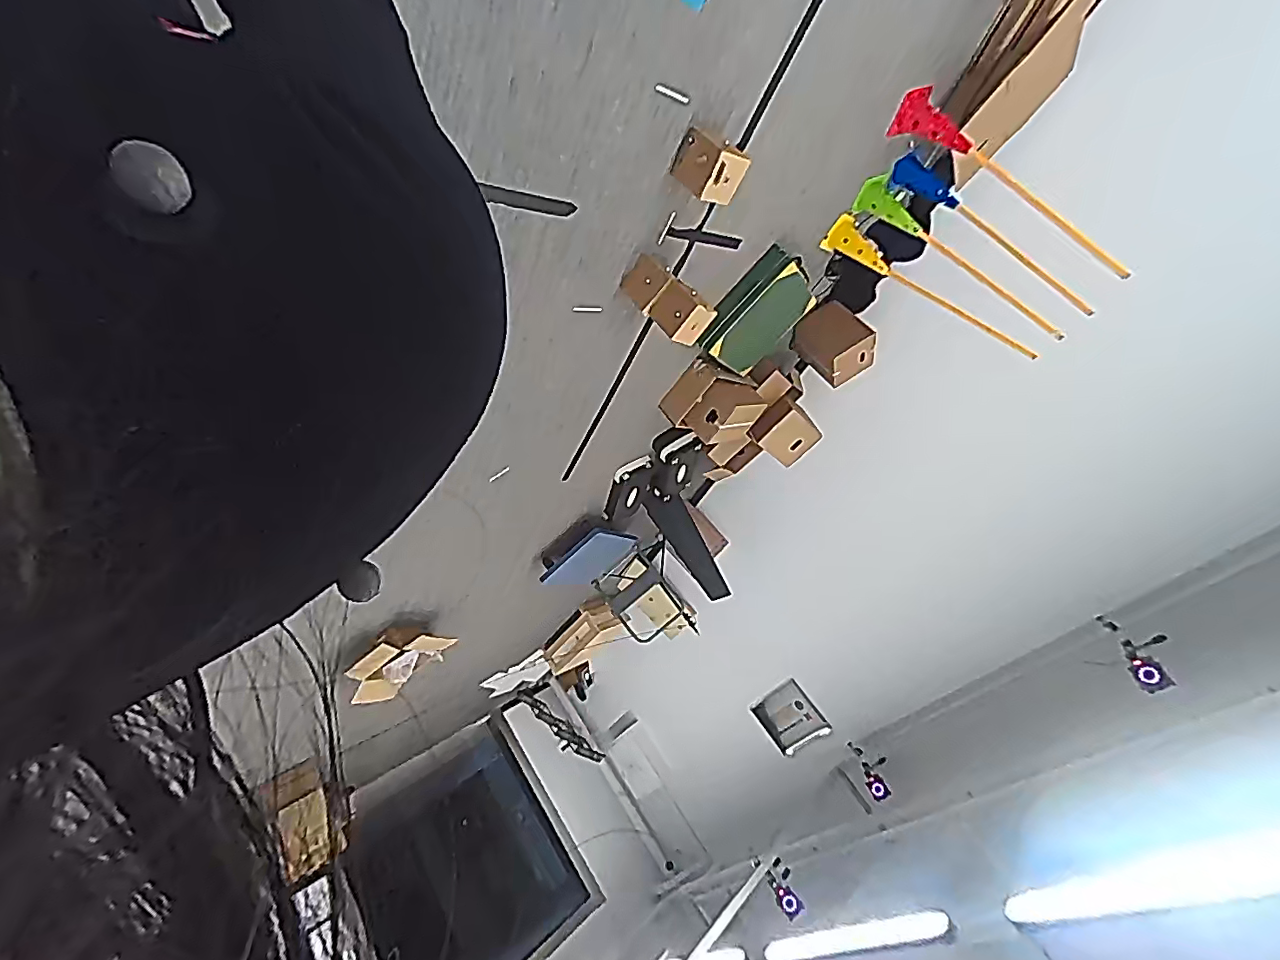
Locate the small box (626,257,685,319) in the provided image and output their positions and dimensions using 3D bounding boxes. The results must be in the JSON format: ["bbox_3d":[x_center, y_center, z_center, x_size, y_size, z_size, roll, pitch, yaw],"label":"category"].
[{"bbox_3d":[0.074,-0.789,2.237,0.179,0.176,0.168,-46,158,25],"label":"small box"}]

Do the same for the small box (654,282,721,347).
[{"bbox_3d":[0.188,-0.674,2.196,0.179,0.176,0.168,-48,157,27],"label":"small box"}]

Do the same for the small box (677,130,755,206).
[{"bbox_3d":[0.262,-1.097,1.901,0.179,0.176,0.168,-19,152,-43],"label":"small box"}]
